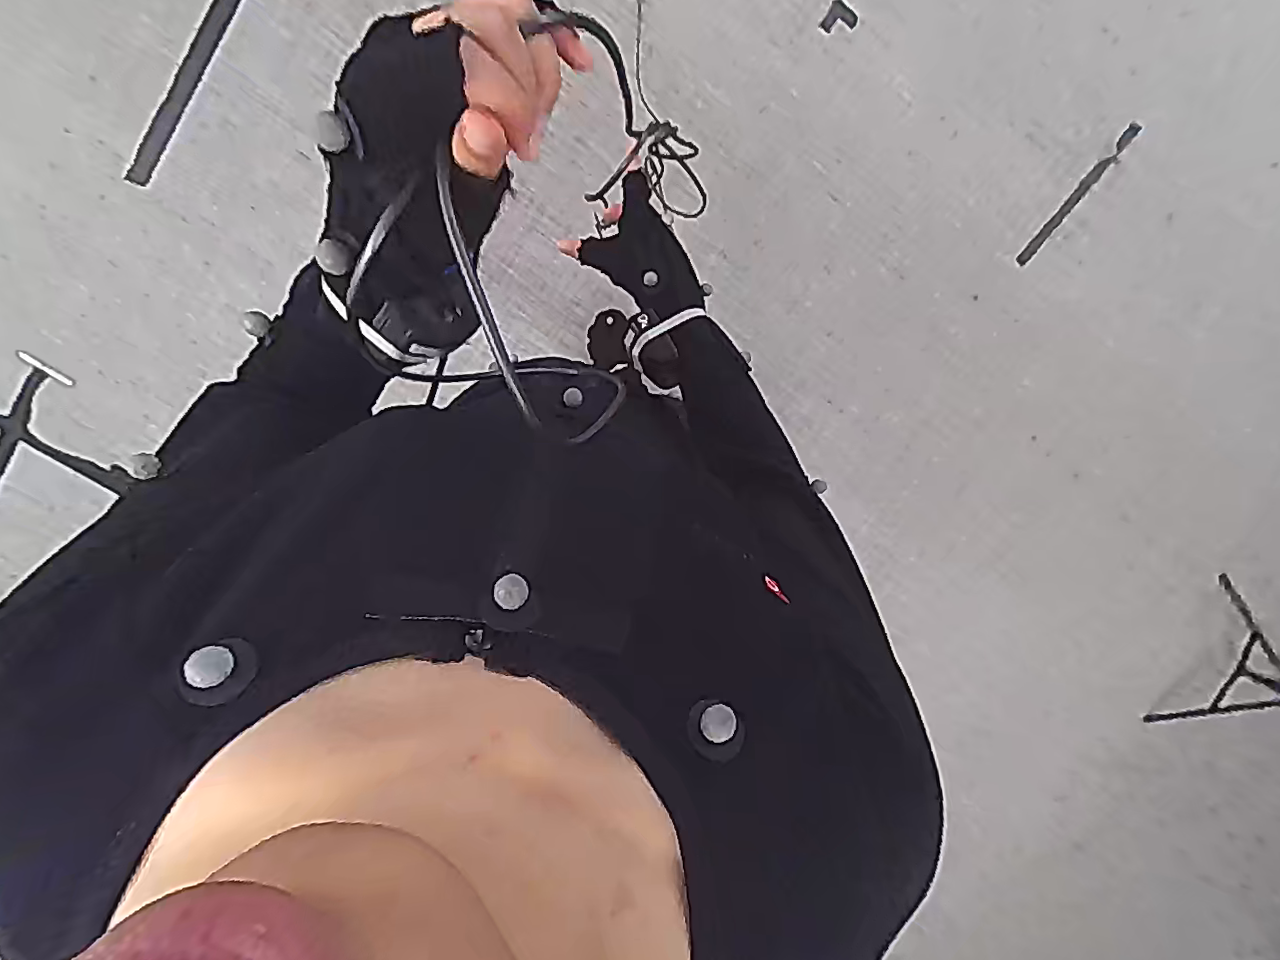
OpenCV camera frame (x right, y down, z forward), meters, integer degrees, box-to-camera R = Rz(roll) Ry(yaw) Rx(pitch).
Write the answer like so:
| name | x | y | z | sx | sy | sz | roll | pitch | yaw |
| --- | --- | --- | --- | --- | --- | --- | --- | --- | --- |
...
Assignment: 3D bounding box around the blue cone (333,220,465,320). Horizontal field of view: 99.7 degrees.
| name | x | y | z | sx | sy | sz | roll | pitch | yaw |
| --- | --- | --- | --- | --- | --- | --- | --- | --- | --- |
| blue cone | -0.536 | -0.474 | 1.167 | 0.192 | 0.380 | 0.193 | 30 | 101 | -8 |
